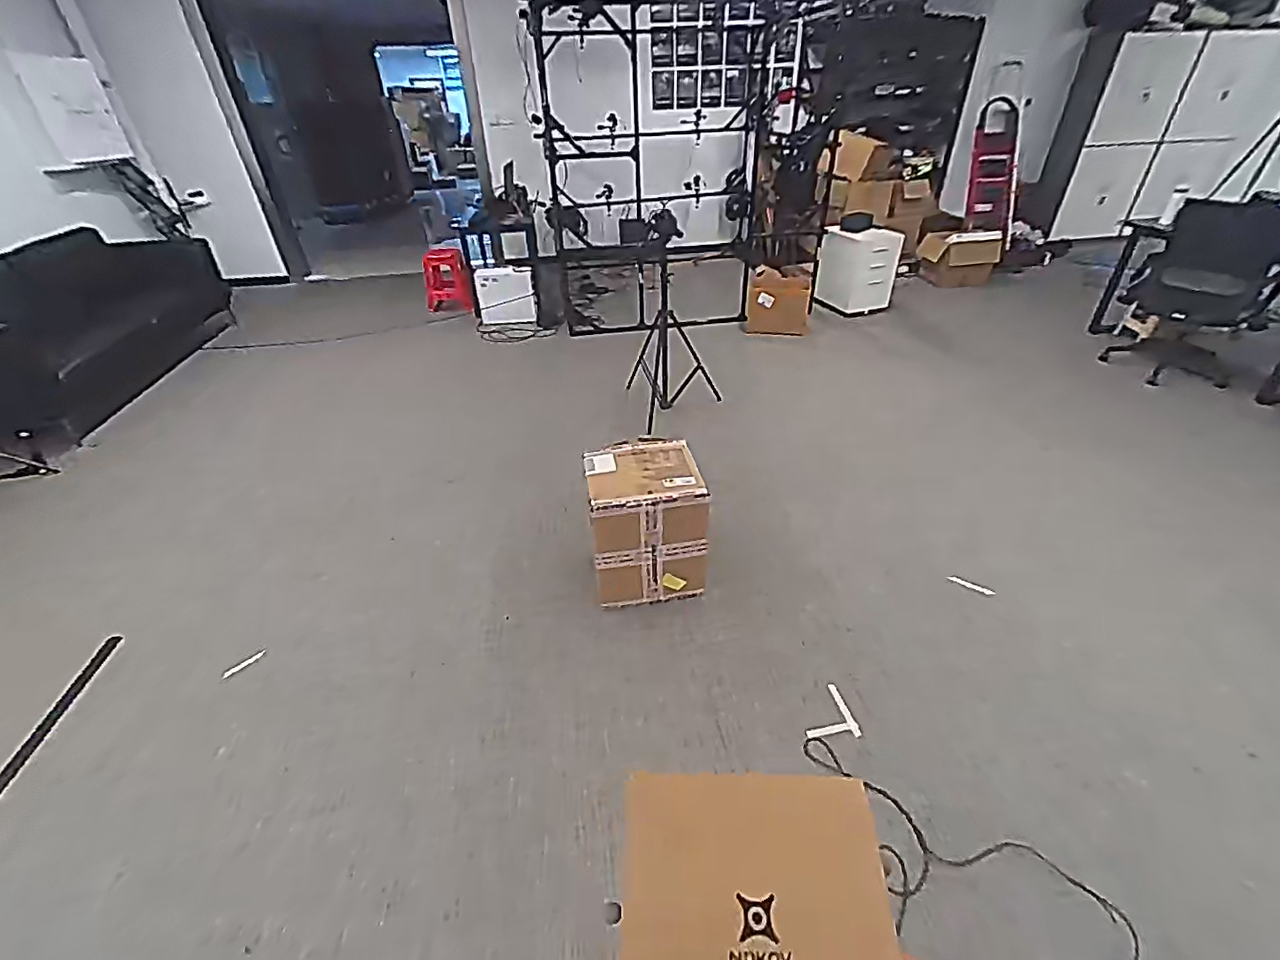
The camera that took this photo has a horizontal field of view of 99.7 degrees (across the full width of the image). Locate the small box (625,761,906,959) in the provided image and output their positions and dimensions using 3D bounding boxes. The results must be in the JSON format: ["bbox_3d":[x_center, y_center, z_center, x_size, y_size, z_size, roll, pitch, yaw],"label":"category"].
[{"bbox_3d":[0.076,0.321,0.384,0.168,0.176,0.179,-1,48,4],"label":"small box"}]
